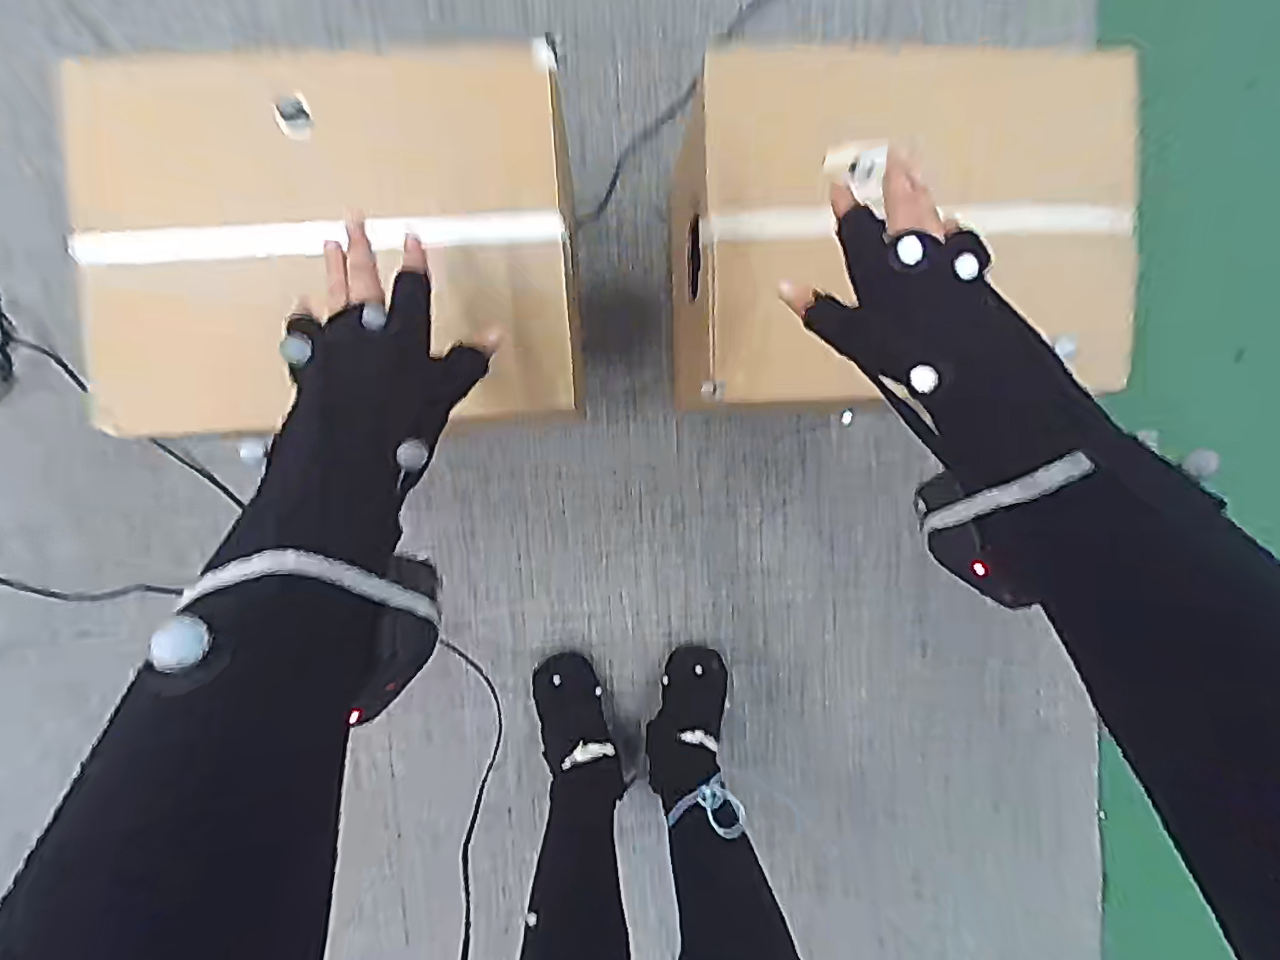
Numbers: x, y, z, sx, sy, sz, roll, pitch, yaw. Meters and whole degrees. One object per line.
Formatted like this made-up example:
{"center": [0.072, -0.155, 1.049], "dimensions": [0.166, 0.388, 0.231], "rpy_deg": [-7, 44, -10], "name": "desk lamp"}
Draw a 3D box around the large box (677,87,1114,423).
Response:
{"center": [0.263, -0.234, 0.678], "dimensions": [0.408, 0.320, 0.320], "rpy_deg": [-2, 93, -3], "name": "large box"}
